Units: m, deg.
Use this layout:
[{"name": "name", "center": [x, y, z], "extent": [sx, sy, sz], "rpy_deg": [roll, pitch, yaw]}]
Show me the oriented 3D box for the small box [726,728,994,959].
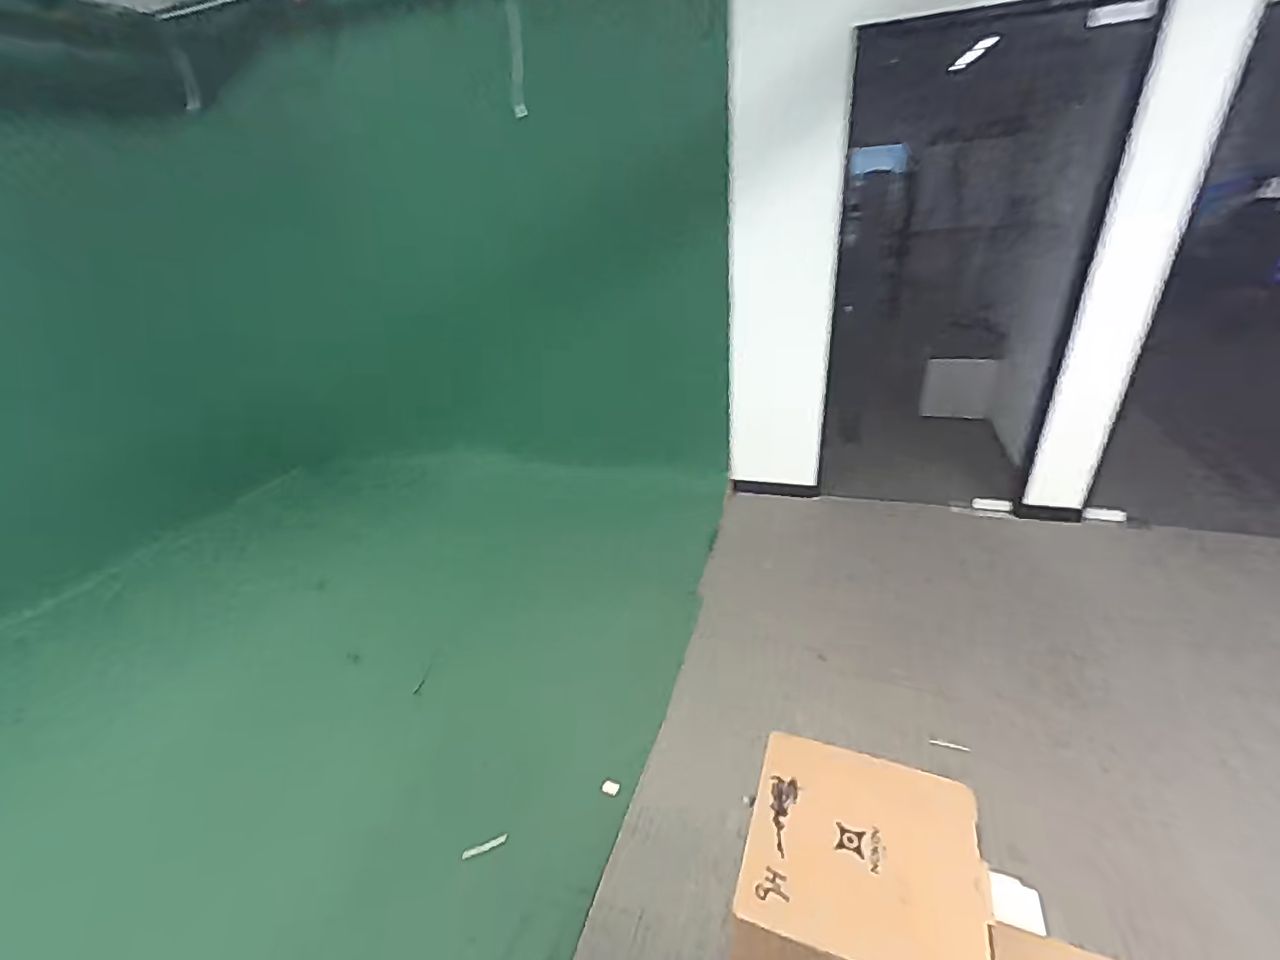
[{"name": "small box", "center": [0.181, 0.362, 0.470], "extent": [0.179, 0.176, 0.168], "rpy_deg": [10, 30, 22]}]
